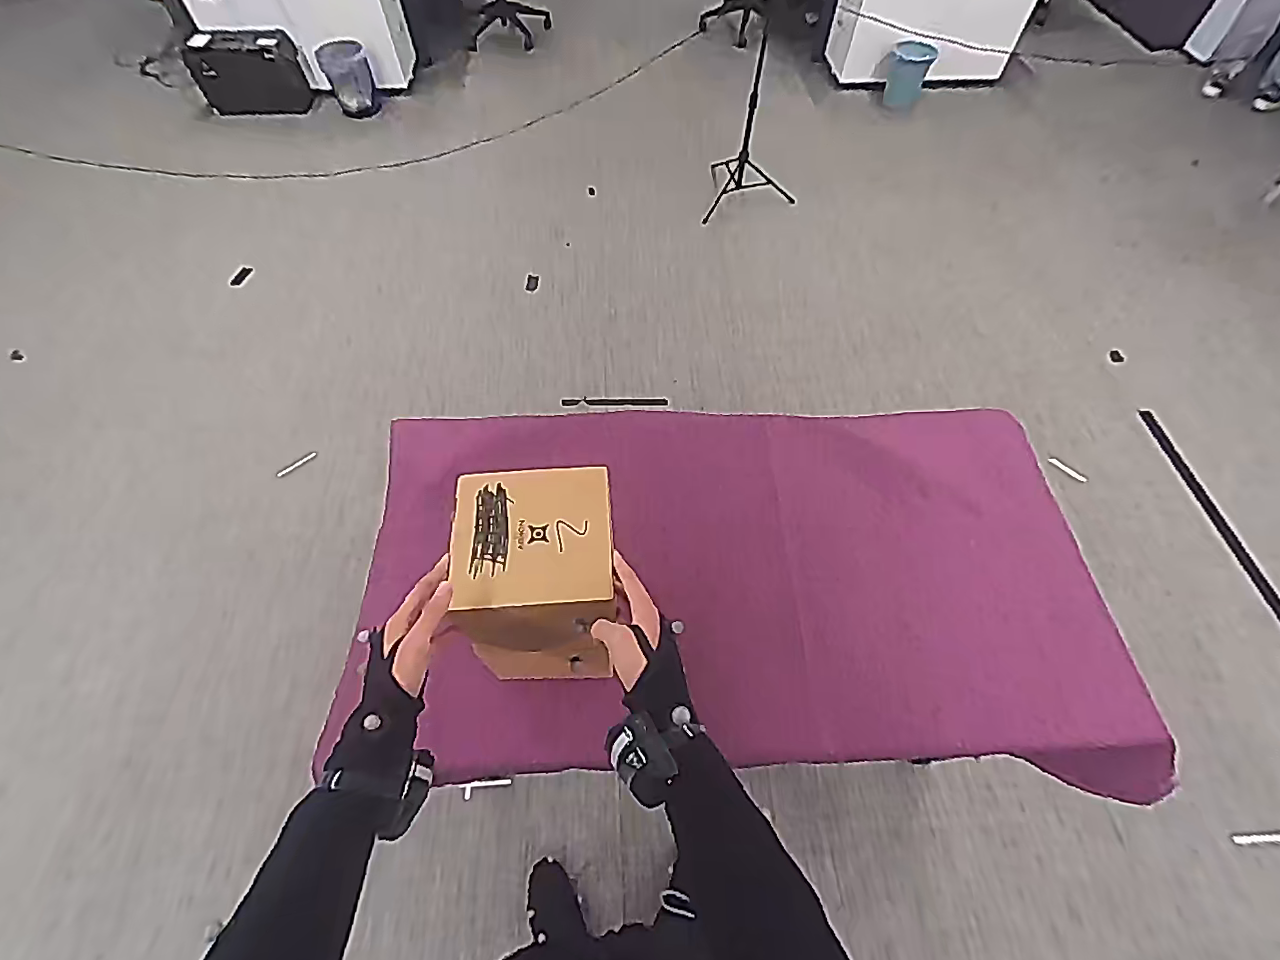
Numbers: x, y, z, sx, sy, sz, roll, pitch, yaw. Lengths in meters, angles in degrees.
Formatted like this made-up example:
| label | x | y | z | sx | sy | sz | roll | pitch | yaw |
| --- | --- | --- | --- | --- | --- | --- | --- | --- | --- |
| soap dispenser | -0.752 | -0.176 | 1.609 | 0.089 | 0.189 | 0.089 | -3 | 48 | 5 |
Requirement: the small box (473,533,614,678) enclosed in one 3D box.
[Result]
| label | x | y | z | sx | sy | sz | roll | pitch | yaw |
| --- | --- | --- | --- | --- | --- | --- | --- | --- | --- |
| small box | -0.128 | 0.189 | 0.797 | 0.179 | 0.176 | 0.168 | 0 | 58 | -1 |
